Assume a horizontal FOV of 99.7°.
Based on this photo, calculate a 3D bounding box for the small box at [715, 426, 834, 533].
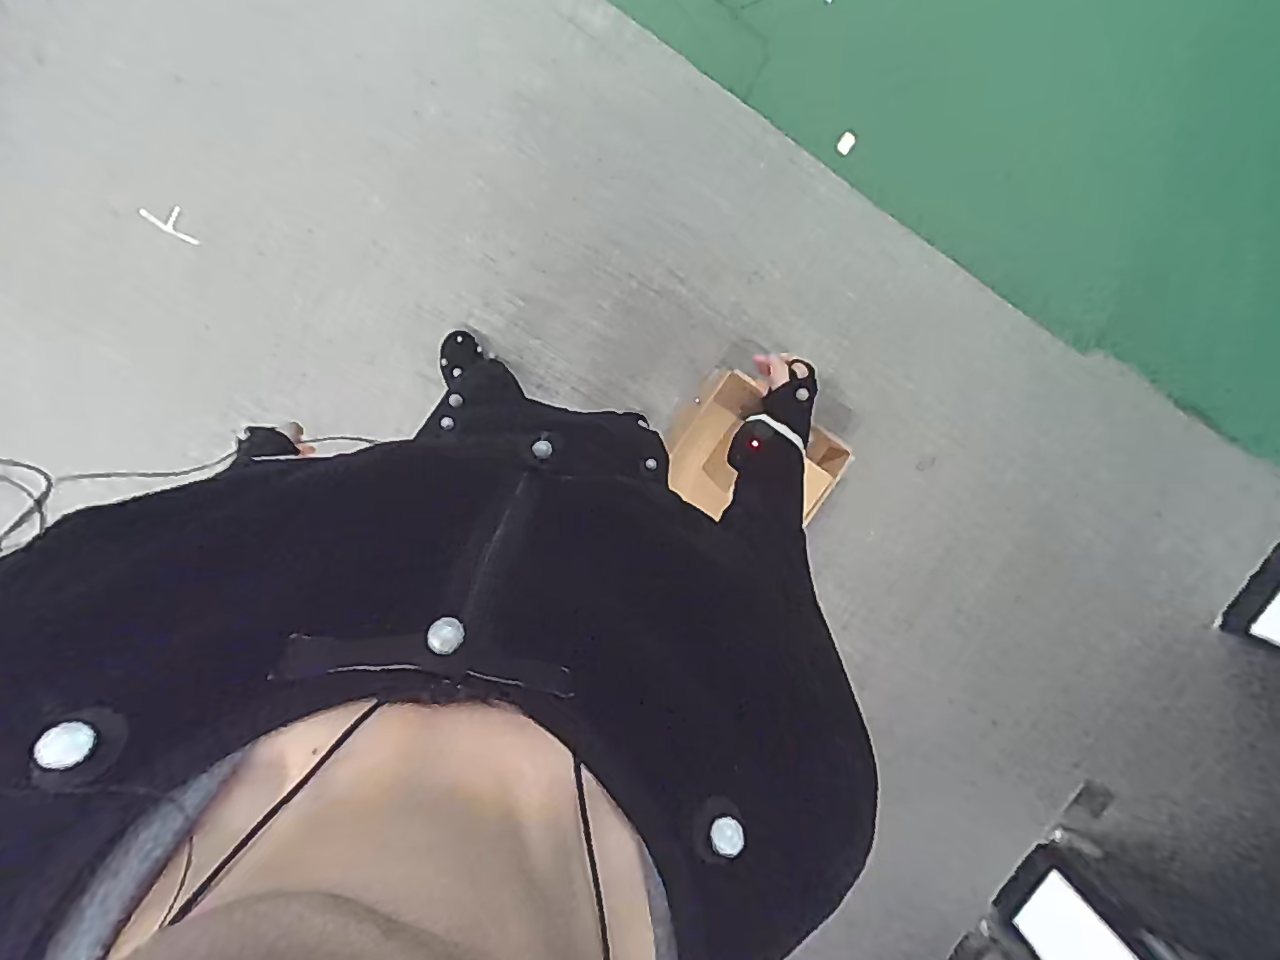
[{"bbox_3d":[0.294,-0.011,1.224,0.179,0.176,0.168,36,97,-8],"label":"small box"}]
